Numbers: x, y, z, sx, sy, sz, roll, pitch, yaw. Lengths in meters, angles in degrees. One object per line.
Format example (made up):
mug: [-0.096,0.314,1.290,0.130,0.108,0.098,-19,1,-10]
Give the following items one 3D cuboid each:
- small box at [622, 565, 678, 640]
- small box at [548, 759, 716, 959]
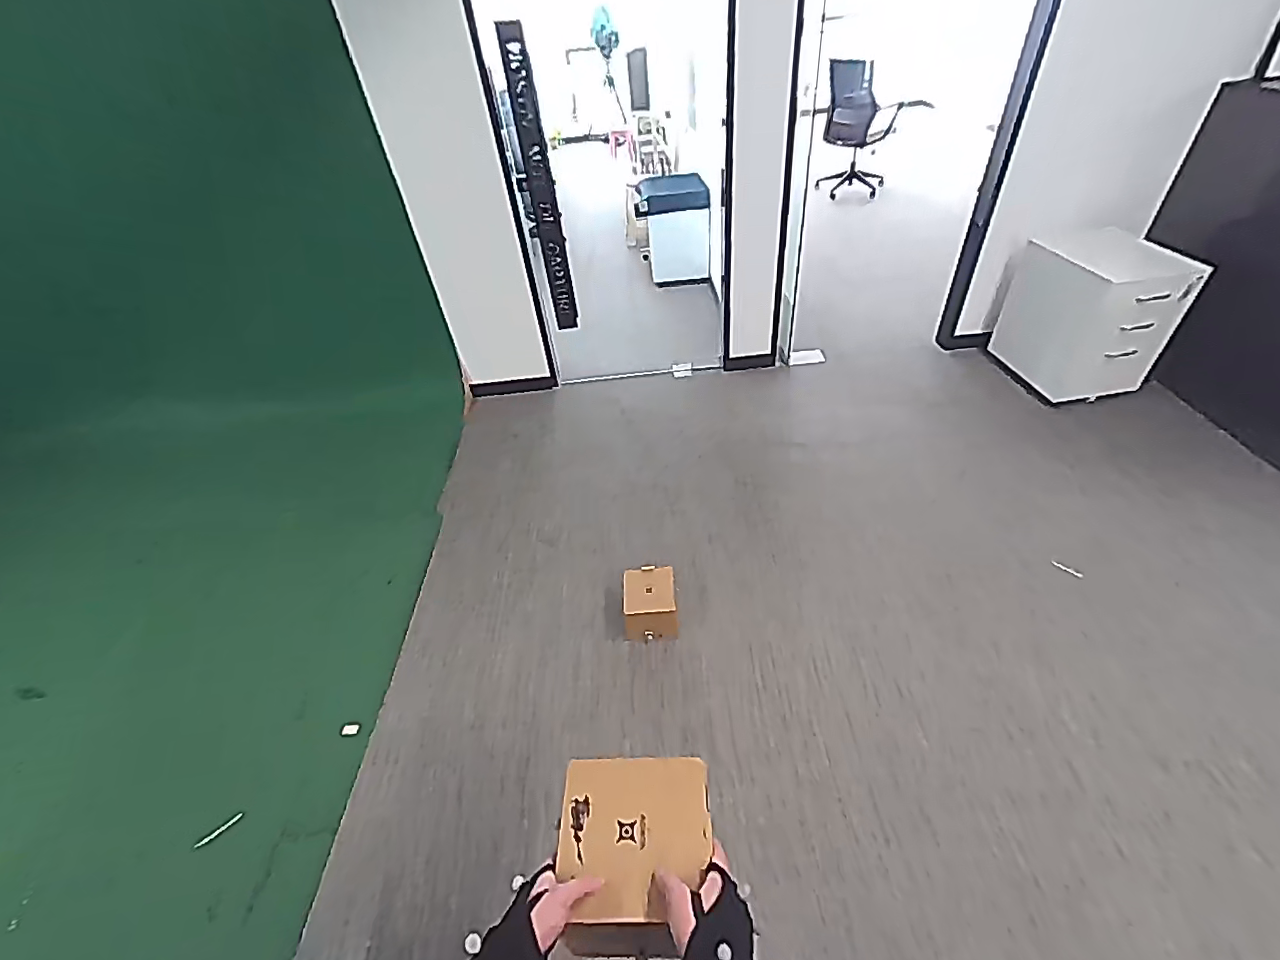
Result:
small box: [0.035,0.404,1.782,0.168,0.176,0.179,-5,42,6]
small box: [-0.003,0.467,0.669,0.179,0.176,0.168,-2,39,3]
